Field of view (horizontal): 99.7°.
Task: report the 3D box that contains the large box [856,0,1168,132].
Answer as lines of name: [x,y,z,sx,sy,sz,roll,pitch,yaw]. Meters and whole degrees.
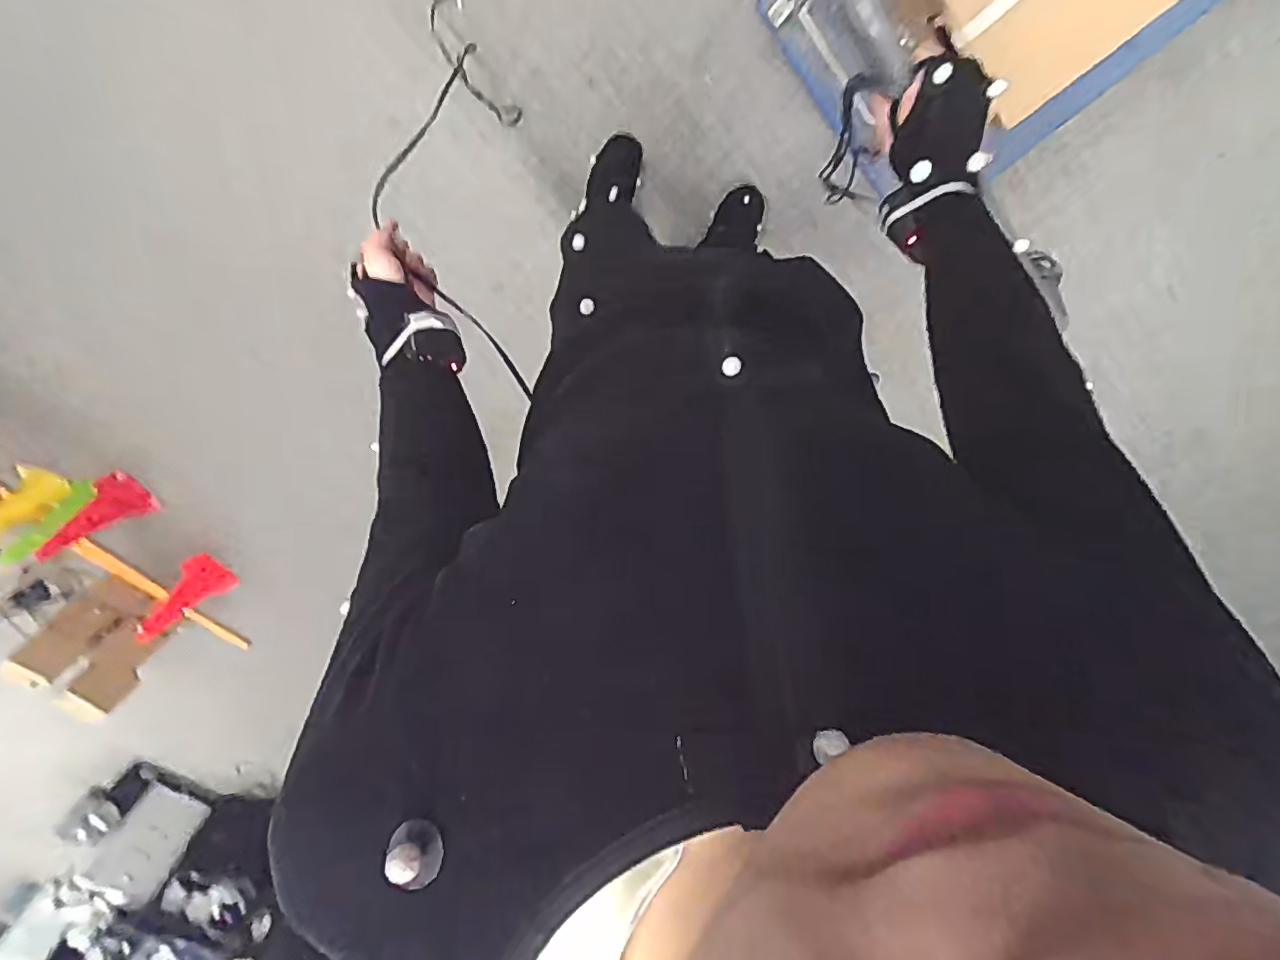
large box: [0.607,-0.817,0.819,0.408,0.320,0.320,-35,114,26]
